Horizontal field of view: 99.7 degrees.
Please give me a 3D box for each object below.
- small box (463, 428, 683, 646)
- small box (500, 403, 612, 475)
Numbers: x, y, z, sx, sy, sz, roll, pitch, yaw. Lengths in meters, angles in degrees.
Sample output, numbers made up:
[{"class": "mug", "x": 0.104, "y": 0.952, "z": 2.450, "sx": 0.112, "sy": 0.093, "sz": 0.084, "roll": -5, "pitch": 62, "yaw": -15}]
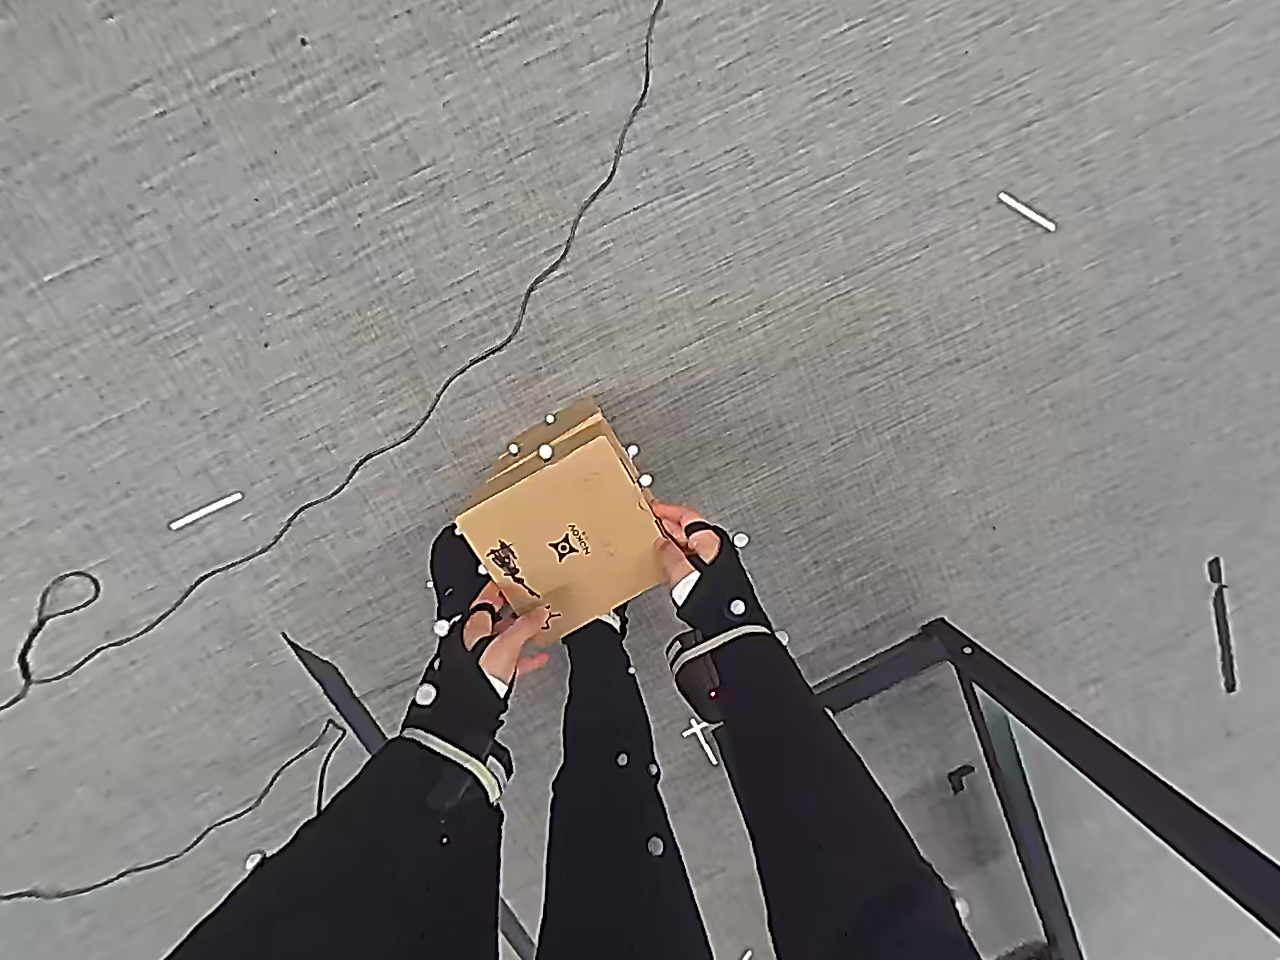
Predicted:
[{"class": "small box", "x": -0.076, "y": 0.051, "z": 0.632, "sx": 0.179, "sy": 0.176, "sz": 0.168, "roll": -30, "pitch": 102, "yaw": 0}, {"class": "small box", "x": -0.121, "y": -0.023, "z": 0.950, "sx": 0.179, "sy": 0.176, "sz": 0.168, "roll": -29, "pitch": 105, "yaw": 1}]
